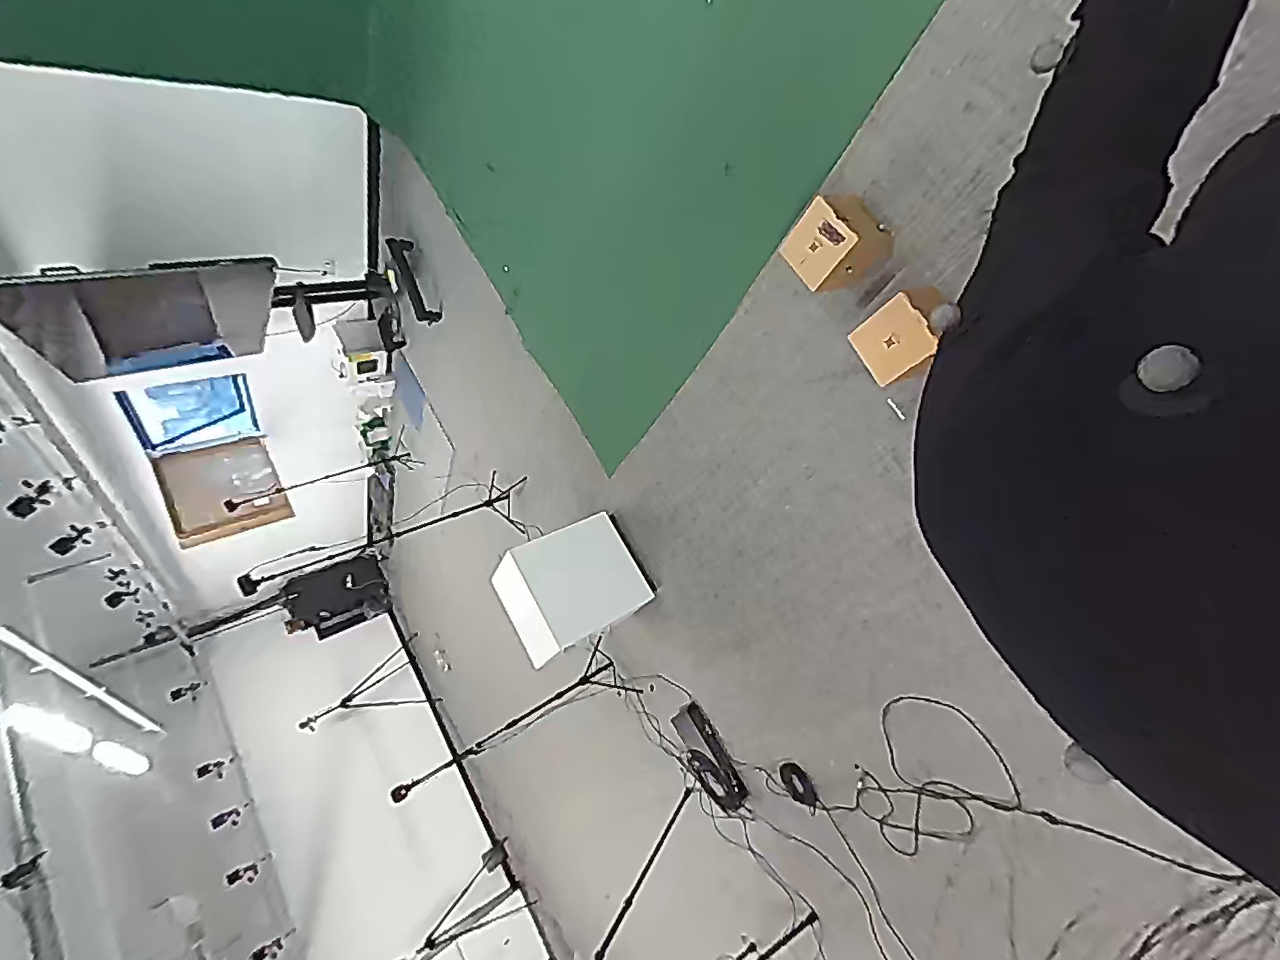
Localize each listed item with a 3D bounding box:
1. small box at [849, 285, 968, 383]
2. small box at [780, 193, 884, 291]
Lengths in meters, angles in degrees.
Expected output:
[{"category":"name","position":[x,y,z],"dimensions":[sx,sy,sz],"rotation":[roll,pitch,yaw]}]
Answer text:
[{"category":"small box","position":[0.678,-0.369,1.365],"dimensions":[0.168,0.176,0.179],"rotation":[61,143,12]},{"category":"small box","position":[0.519,-0.636,1.441],"dimensions":[0.168,0.176,0.179],"rotation":[58,143,15]}]
